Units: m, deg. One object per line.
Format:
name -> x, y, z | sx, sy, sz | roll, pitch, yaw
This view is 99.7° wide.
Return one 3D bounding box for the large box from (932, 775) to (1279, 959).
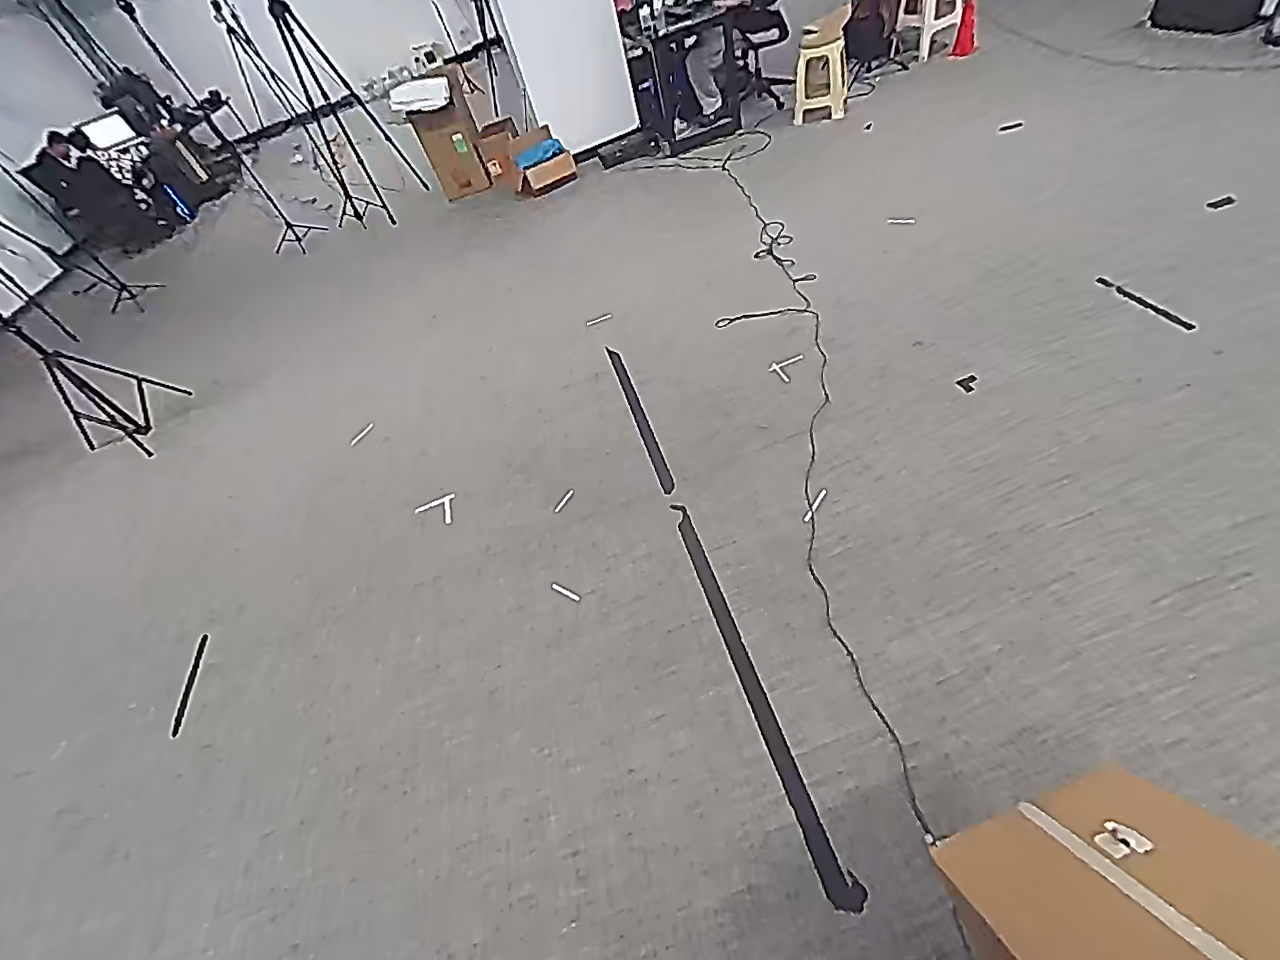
large box -> 0.633, 0.621, 0.603 | 0.320, 0.408, 0.320 | -24, 83, -1
